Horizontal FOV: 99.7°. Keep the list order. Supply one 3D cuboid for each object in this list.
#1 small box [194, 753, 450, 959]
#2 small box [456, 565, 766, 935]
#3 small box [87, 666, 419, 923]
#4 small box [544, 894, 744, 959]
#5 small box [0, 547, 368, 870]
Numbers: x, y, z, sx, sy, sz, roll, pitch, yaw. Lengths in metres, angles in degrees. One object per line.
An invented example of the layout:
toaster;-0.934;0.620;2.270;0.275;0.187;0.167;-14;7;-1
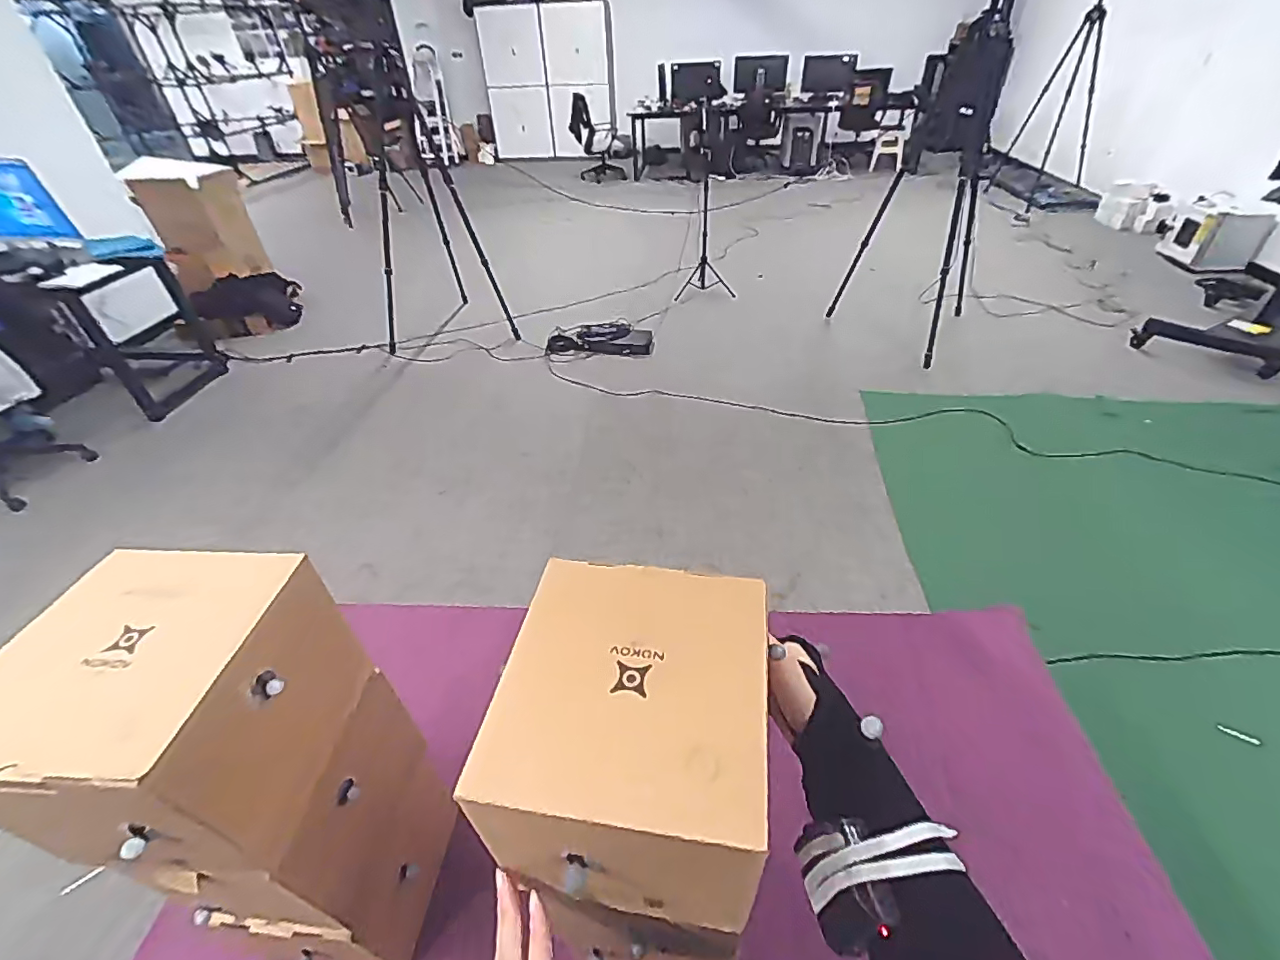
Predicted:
small box;-0.341;0.430;0.628;0.168;0.176;0.179;4;41;5
small box;-0.002;0.188;0.388;0.168;0.176;0.179;5;39;9
small box;-0.342;0.298;0.528;0.168;0.176;0.179;3;39;6
small box;0.007;0.308;0.500;0.168;0.176;0.179;4;40;8
small box;-0.346;0.175;0.421;0.168;0.176;0.179;3;39;4
